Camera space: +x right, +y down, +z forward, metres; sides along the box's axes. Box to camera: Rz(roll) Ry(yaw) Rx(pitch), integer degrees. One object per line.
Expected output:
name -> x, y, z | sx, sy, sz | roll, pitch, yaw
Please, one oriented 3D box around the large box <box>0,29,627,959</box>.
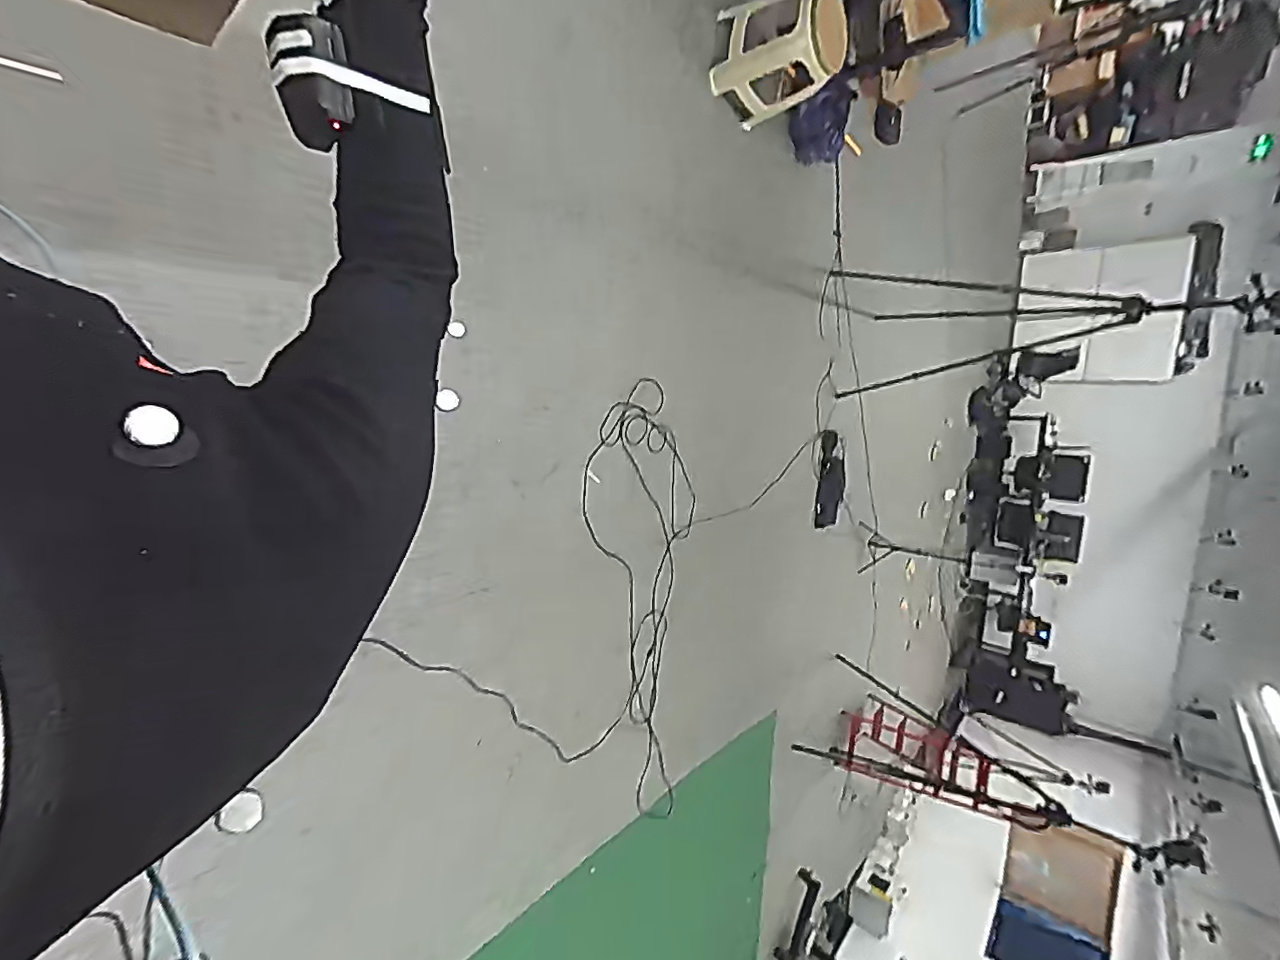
large box -> -0.201, 0.051, 0.312 | 0.320, 0.320, 0.408 | 8, 59, -16
